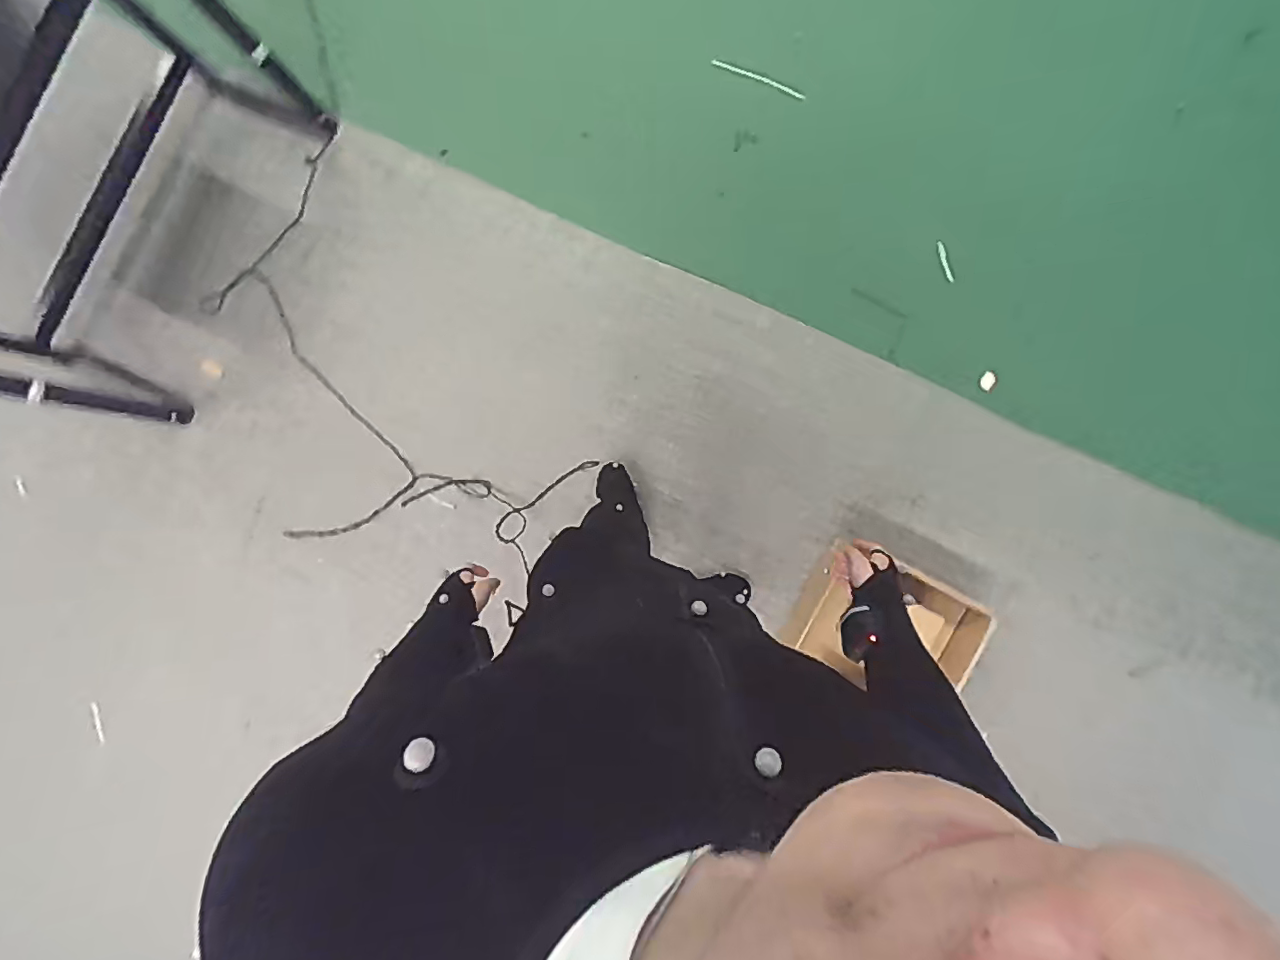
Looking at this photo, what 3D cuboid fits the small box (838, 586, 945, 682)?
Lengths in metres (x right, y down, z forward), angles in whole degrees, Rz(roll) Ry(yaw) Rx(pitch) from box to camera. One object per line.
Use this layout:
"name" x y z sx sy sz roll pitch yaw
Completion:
"small box" 0.644 0.391 1.412 0.179 0.176 0.168 29 91 8
